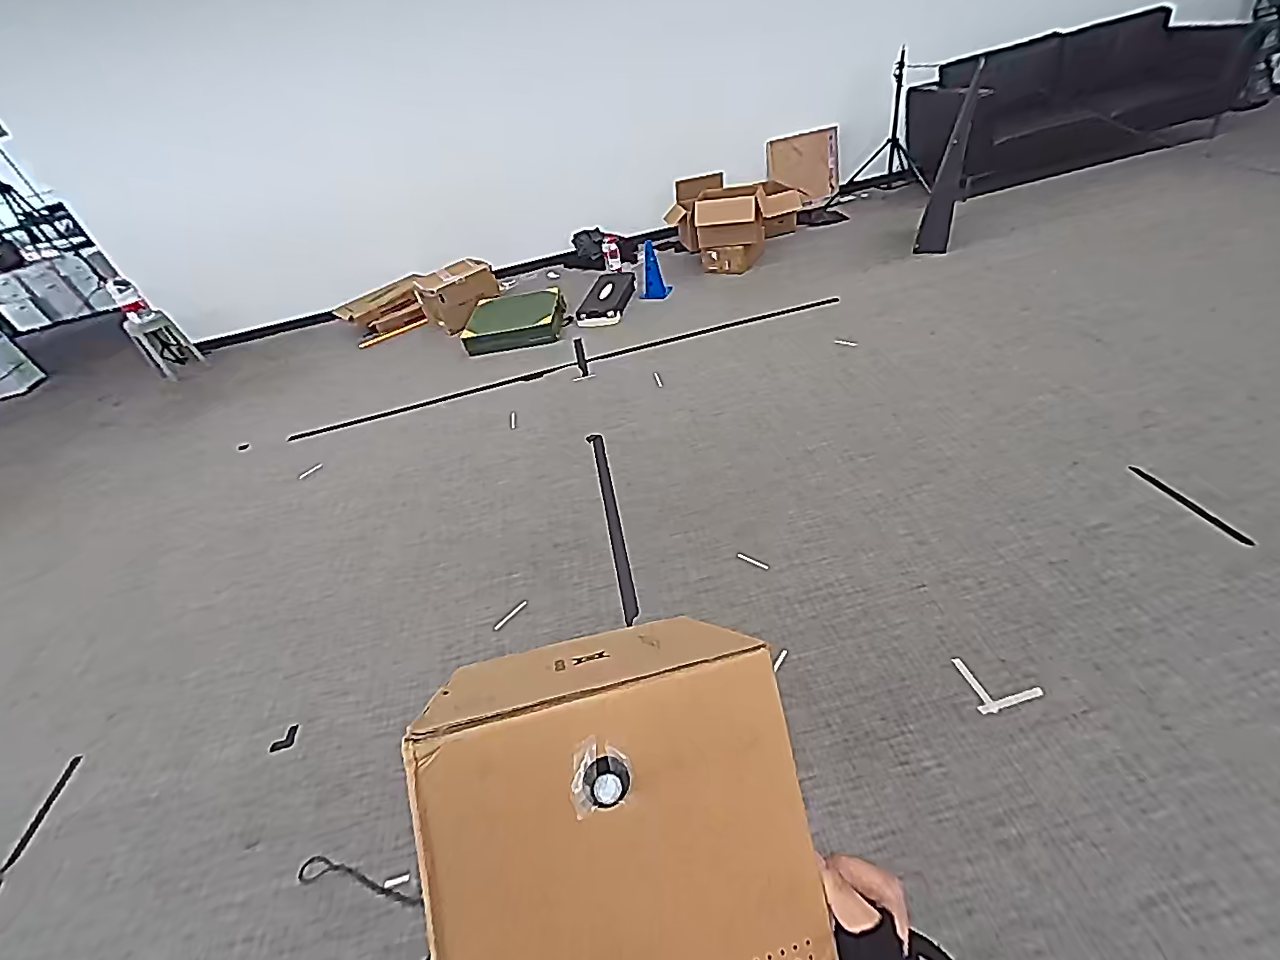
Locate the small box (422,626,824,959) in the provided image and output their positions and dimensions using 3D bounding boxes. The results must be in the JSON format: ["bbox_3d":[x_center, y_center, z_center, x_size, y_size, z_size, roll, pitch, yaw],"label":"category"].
[{"bbox_3d":[-0.015,0.199,0.333,0.179,0.168,0.176,-9,83,-12],"label":"small box"}]
